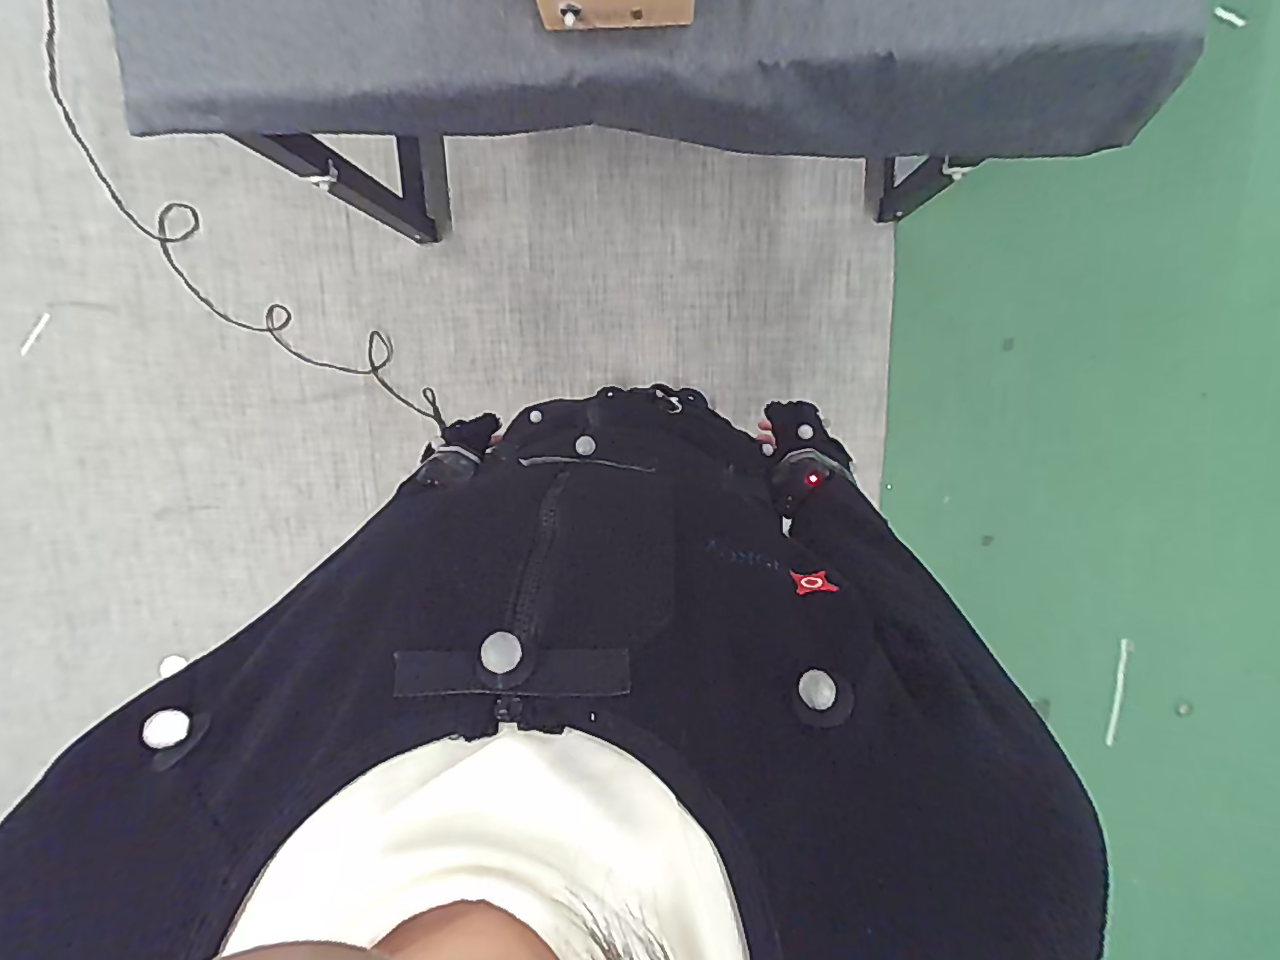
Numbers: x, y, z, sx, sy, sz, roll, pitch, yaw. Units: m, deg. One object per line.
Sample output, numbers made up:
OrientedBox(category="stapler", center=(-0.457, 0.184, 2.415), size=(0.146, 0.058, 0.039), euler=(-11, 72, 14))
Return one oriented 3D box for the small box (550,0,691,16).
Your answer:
OrientedBox(category="small box", center=(-0.027, -0.590, 0.518), size=(0.168, 0.176, 0.179), euler=(0, 98, 2))
